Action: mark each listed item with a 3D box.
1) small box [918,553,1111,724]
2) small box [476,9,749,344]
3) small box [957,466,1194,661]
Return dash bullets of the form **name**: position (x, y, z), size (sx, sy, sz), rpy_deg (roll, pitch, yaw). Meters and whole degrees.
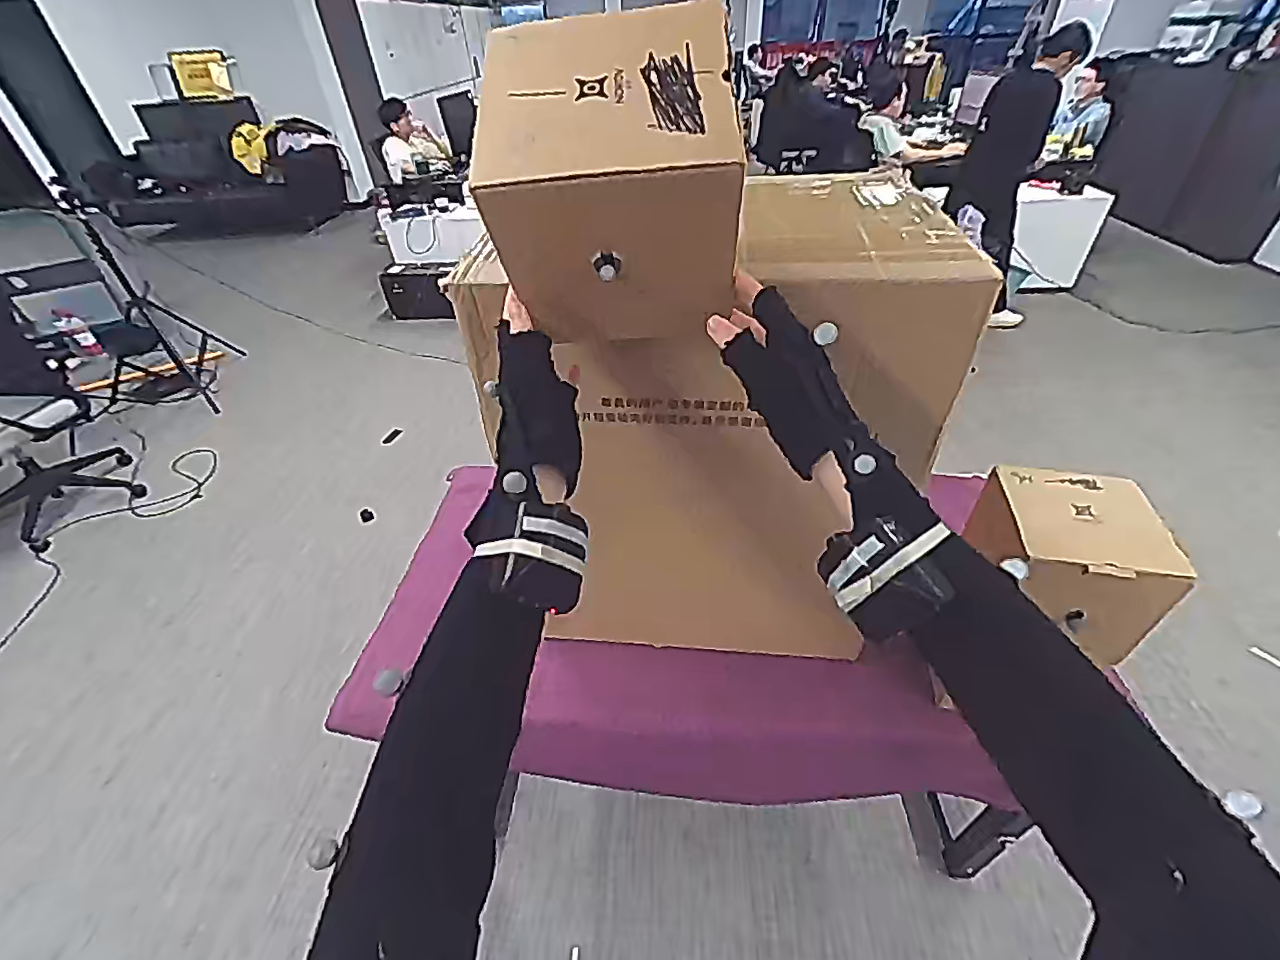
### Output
- **small box**: position (0.540, 0.236, 0.811), size (0.168, 0.176, 0.179), rpy_deg (6, 39, 10)
- **small box**: position (-0.013, -0.229, 0.442), size (0.179, 0.176, 0.168), rpy_deg (-3, 68, 5)
- **small box**: position (0.541, 0.108, 0.708), size (0.168, 0.176, 0.179), rpy_deg (9, 41, 13)
